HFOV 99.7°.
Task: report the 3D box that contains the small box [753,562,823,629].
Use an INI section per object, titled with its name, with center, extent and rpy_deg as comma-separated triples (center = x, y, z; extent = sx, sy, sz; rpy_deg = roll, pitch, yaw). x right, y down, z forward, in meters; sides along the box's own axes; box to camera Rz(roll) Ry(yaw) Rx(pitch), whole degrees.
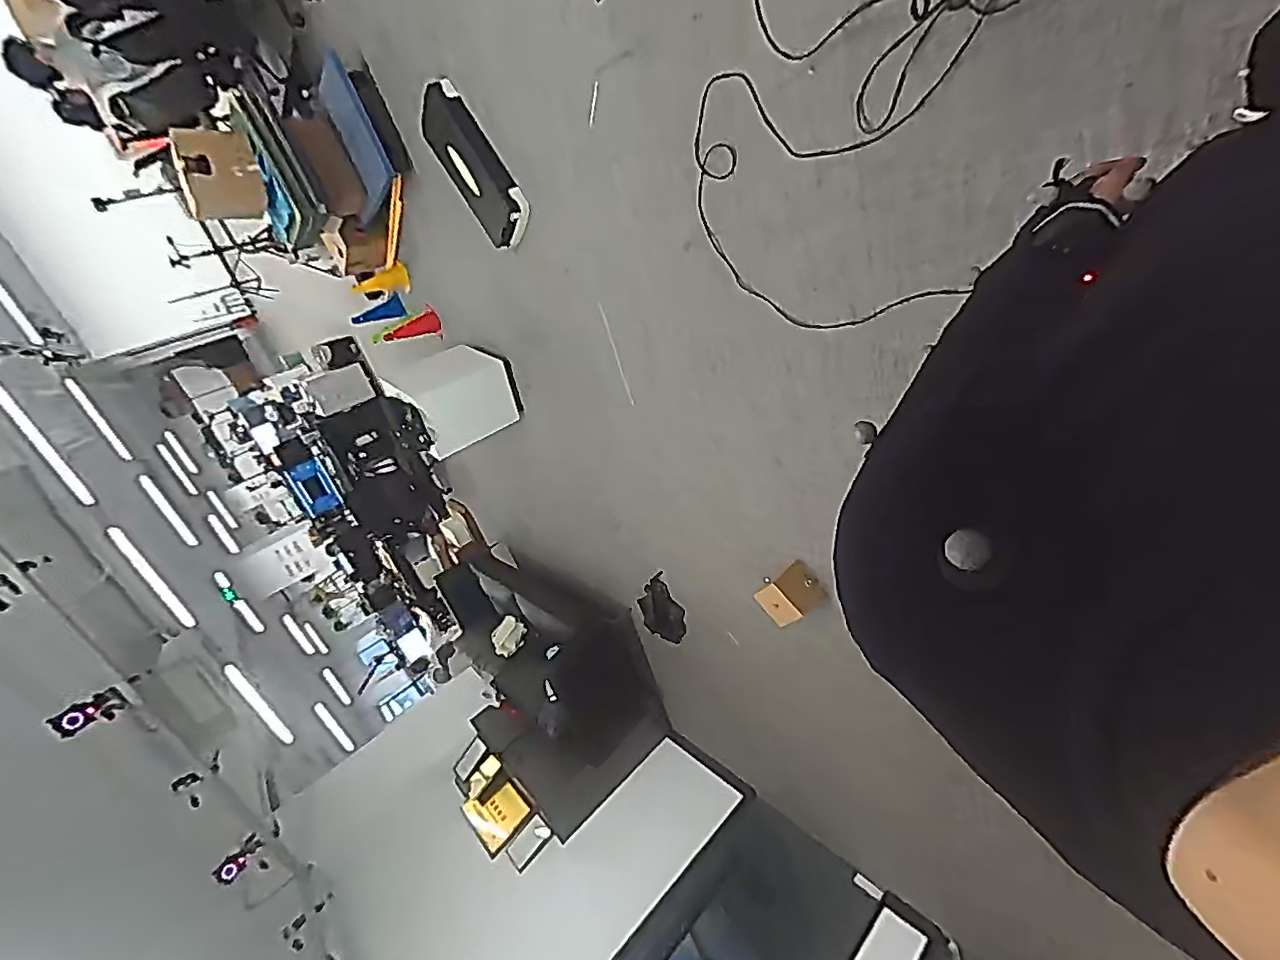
[small box]
center = 0.592, 0.459, 2.152
extent = 0.168, 0.176, 0.179
rpy_deg = 48, 148, 12
